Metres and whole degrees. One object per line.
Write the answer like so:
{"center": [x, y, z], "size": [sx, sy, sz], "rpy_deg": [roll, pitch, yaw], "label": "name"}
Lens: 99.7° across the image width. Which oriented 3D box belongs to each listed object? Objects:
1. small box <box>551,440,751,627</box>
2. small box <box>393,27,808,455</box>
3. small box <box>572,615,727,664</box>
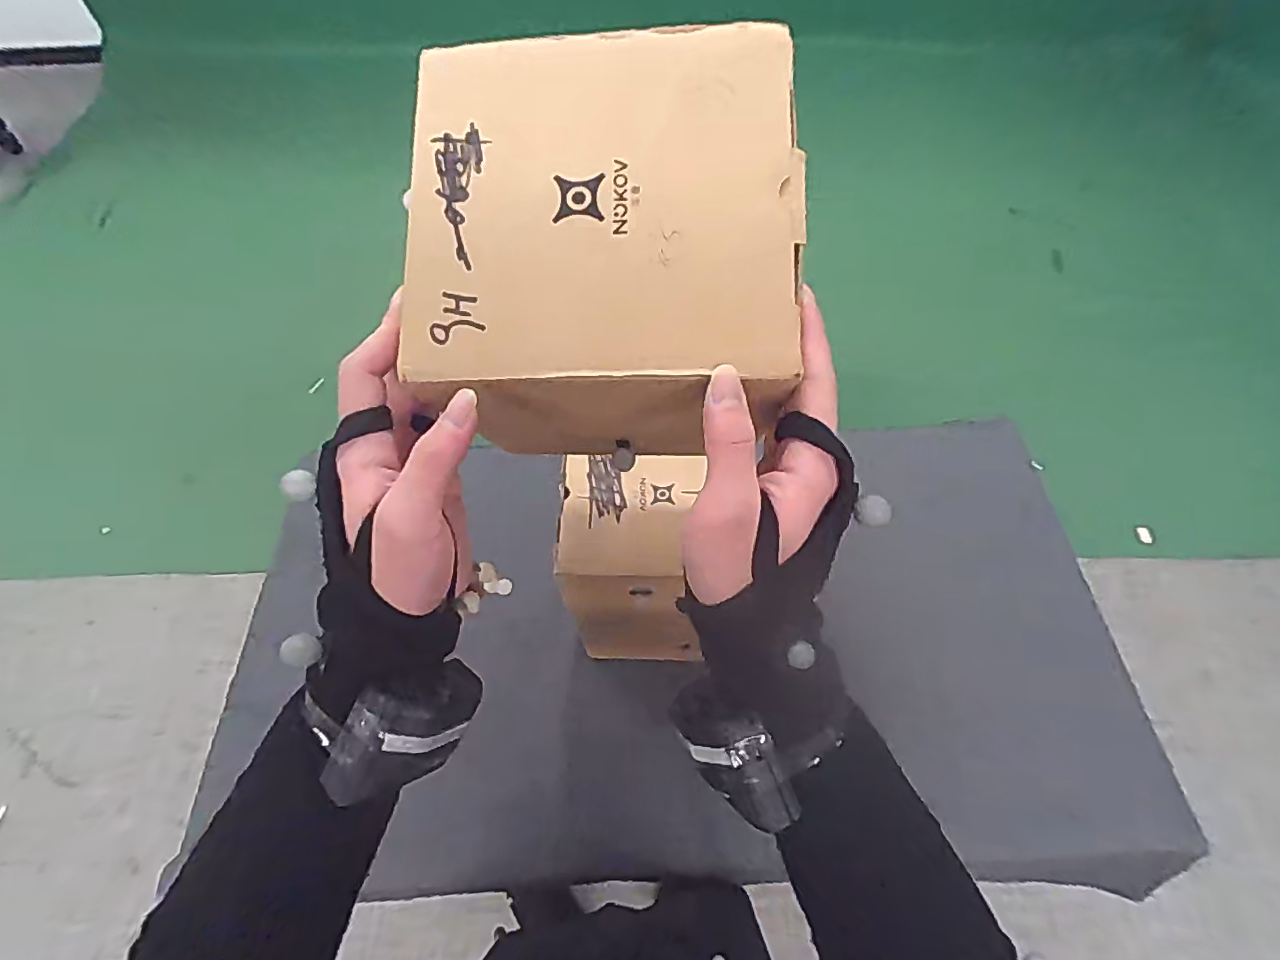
{"center": [0.011, 0.053, 0.571], "size": [0.179, 0.176, 0.168], "rpy_deg": [1, 59, 0], "label": "small box"}
{"center": [-0.013, -0.112, 0.315], "size": [0.179, 0.176, 0.168], "rpy_deg": [1, 80, 3], "label": "small box"}
{"center": [0.014, 0.139, 0.712], "size": [0.179, 0.176, 0.168], "rpy_deg": [0, 59, 2], "label": "small box"}
